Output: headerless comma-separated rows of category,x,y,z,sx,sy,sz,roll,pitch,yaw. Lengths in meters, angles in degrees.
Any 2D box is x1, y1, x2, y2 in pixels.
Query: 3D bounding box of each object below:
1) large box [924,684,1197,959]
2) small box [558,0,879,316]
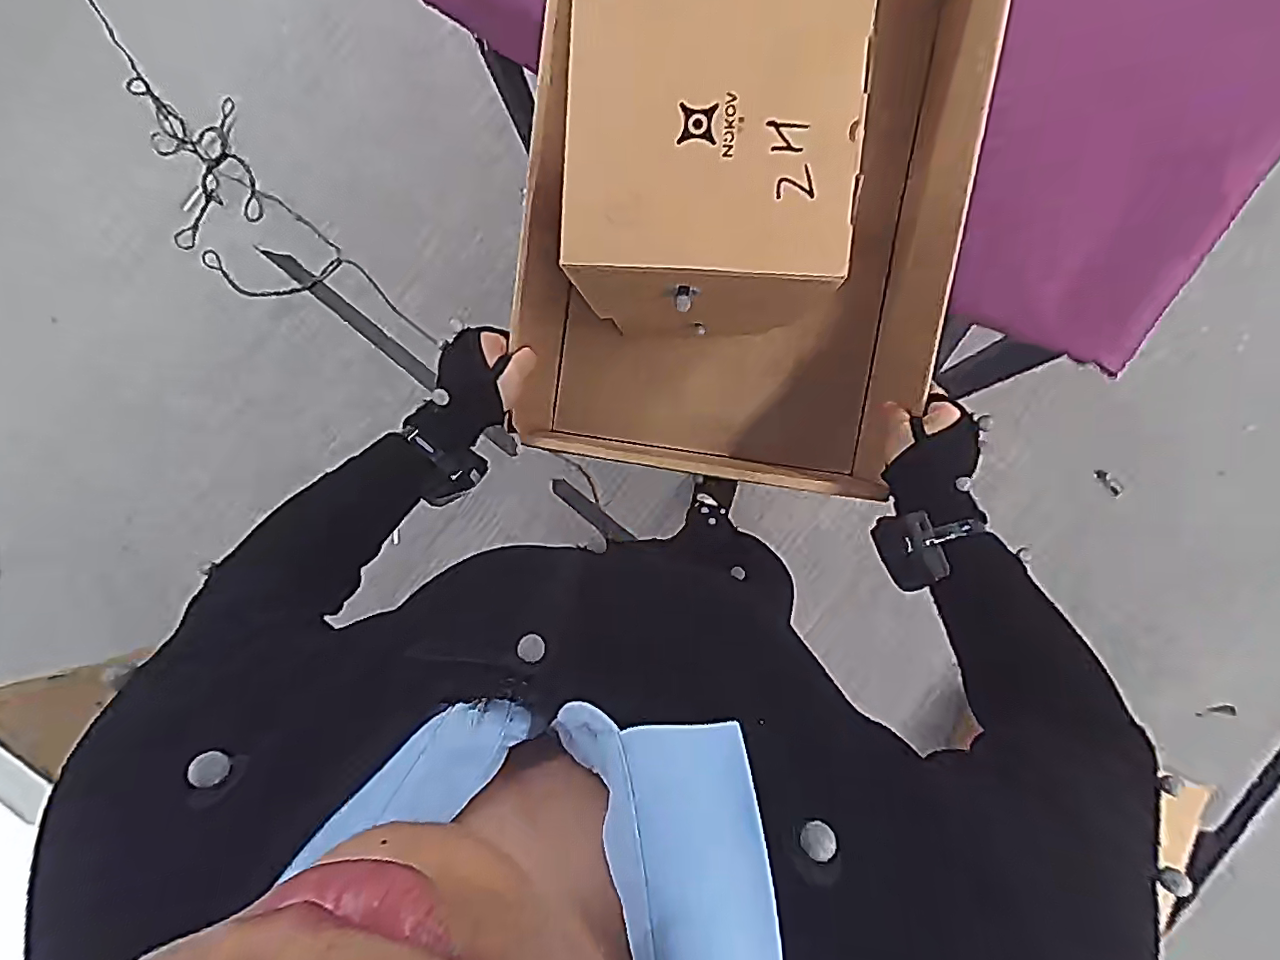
large box,0.905,0.745,1.218,0.320,0.320,0.408,19,88,5
small box,0.048,-0.220,0.391,0.179,0.176,0.168,4,97,3
